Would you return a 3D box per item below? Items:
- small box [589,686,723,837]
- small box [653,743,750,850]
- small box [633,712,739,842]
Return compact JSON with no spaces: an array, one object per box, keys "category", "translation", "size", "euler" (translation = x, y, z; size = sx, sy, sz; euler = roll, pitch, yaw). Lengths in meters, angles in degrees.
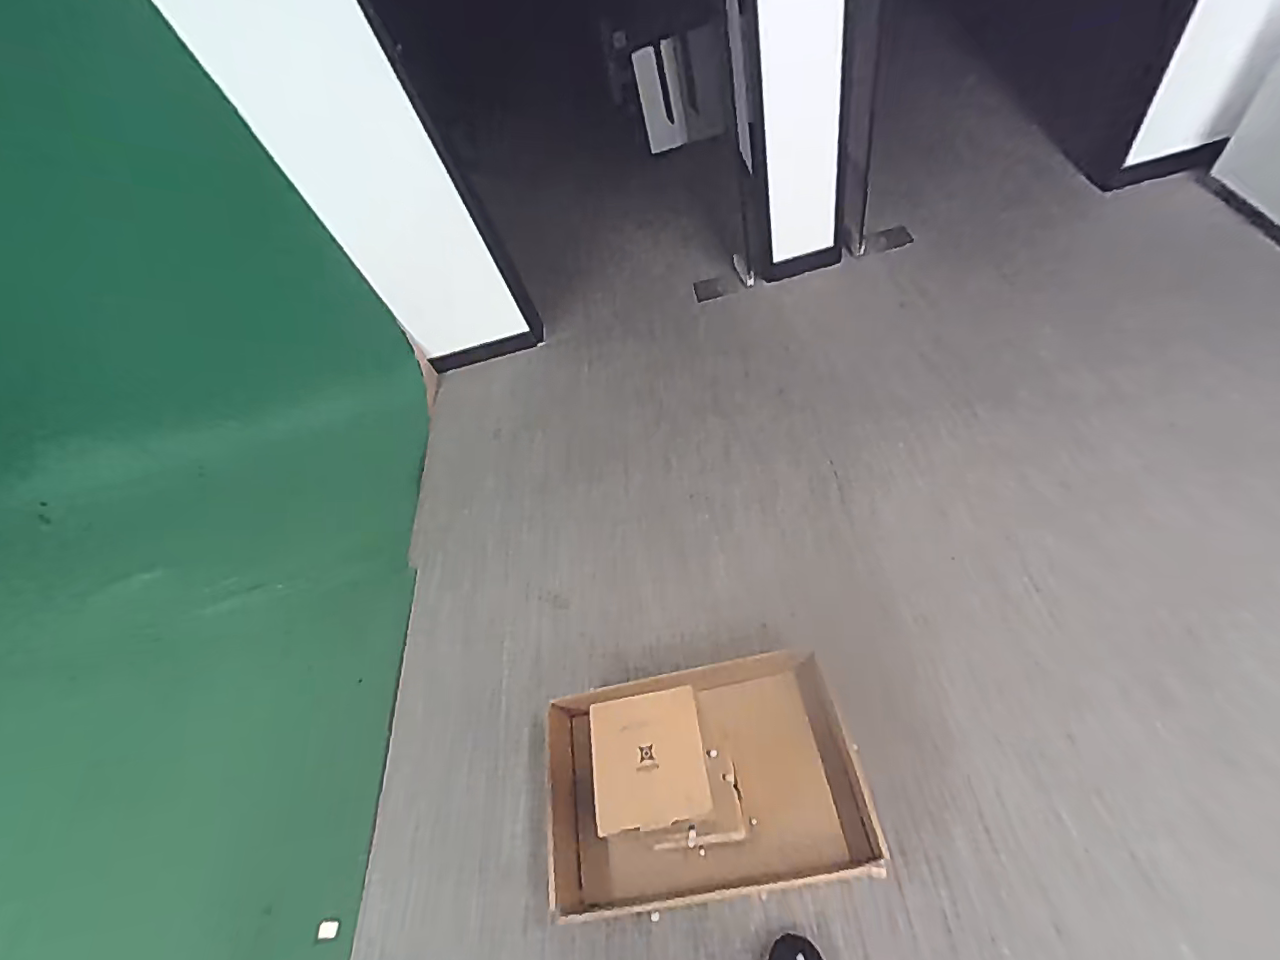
[{"category":"small box","translation":[0.028,0.448,0.849],"size":[0.168,0.176,0.179],"euler":[-14,51,7]},{"category":"small box","translation":[0.123,0.651,1.107],"size":[0.179,0.176,0.168],"euler":[-13,51,10]},{"category":"small box","translation":[0.074,0.549,0.993],"size":[0.168,0.176,0.179],"euler":[-17,51,7]}]
